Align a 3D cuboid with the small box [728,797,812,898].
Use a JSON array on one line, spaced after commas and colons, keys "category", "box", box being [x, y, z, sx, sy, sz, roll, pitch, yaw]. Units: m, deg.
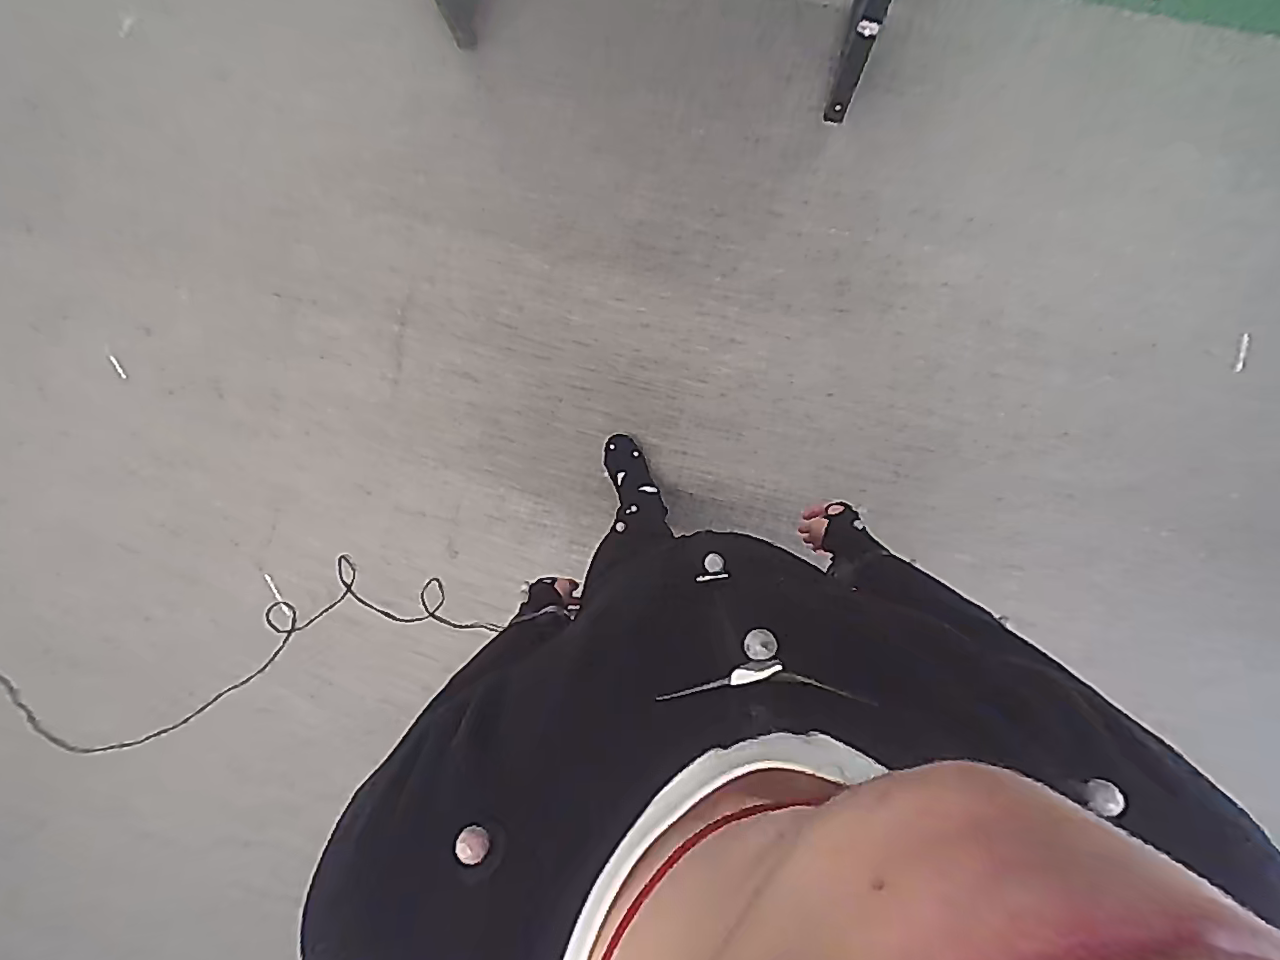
[{"category": "small box", "box": [0.337, 0.992, 1.436, 0.168, 0.176, 0.179, 16, 90, 3]}]
